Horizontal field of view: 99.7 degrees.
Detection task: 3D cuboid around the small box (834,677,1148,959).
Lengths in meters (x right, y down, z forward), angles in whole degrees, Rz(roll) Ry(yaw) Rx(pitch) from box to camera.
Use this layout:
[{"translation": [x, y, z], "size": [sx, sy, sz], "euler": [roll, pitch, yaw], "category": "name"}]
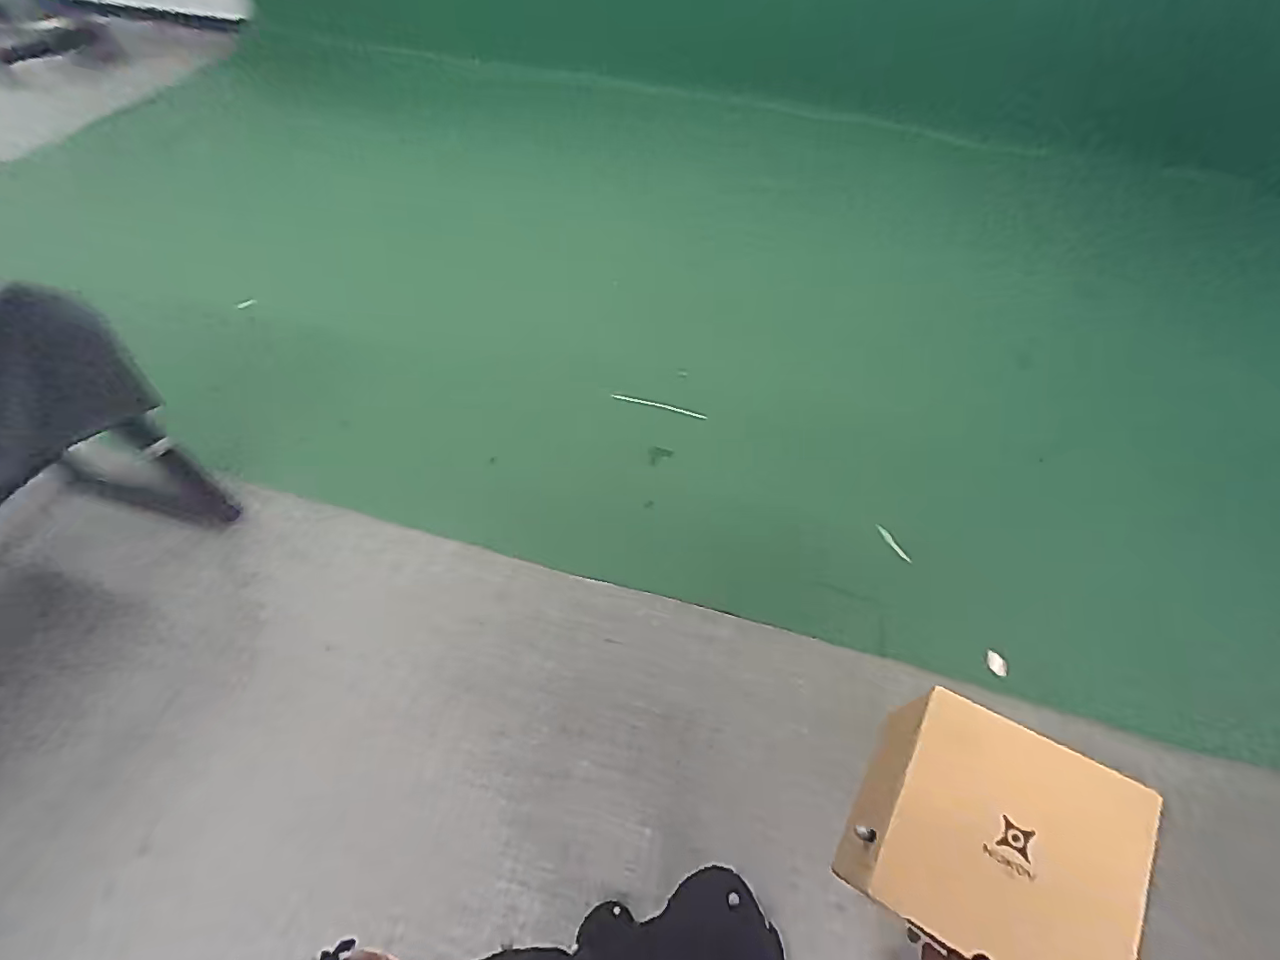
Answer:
[{"translation": [0.288, 0.306, 0.479], "size": [0.168, 0.176, 0.179], "euler": [24, 67, 21], "category": "small box"}]
